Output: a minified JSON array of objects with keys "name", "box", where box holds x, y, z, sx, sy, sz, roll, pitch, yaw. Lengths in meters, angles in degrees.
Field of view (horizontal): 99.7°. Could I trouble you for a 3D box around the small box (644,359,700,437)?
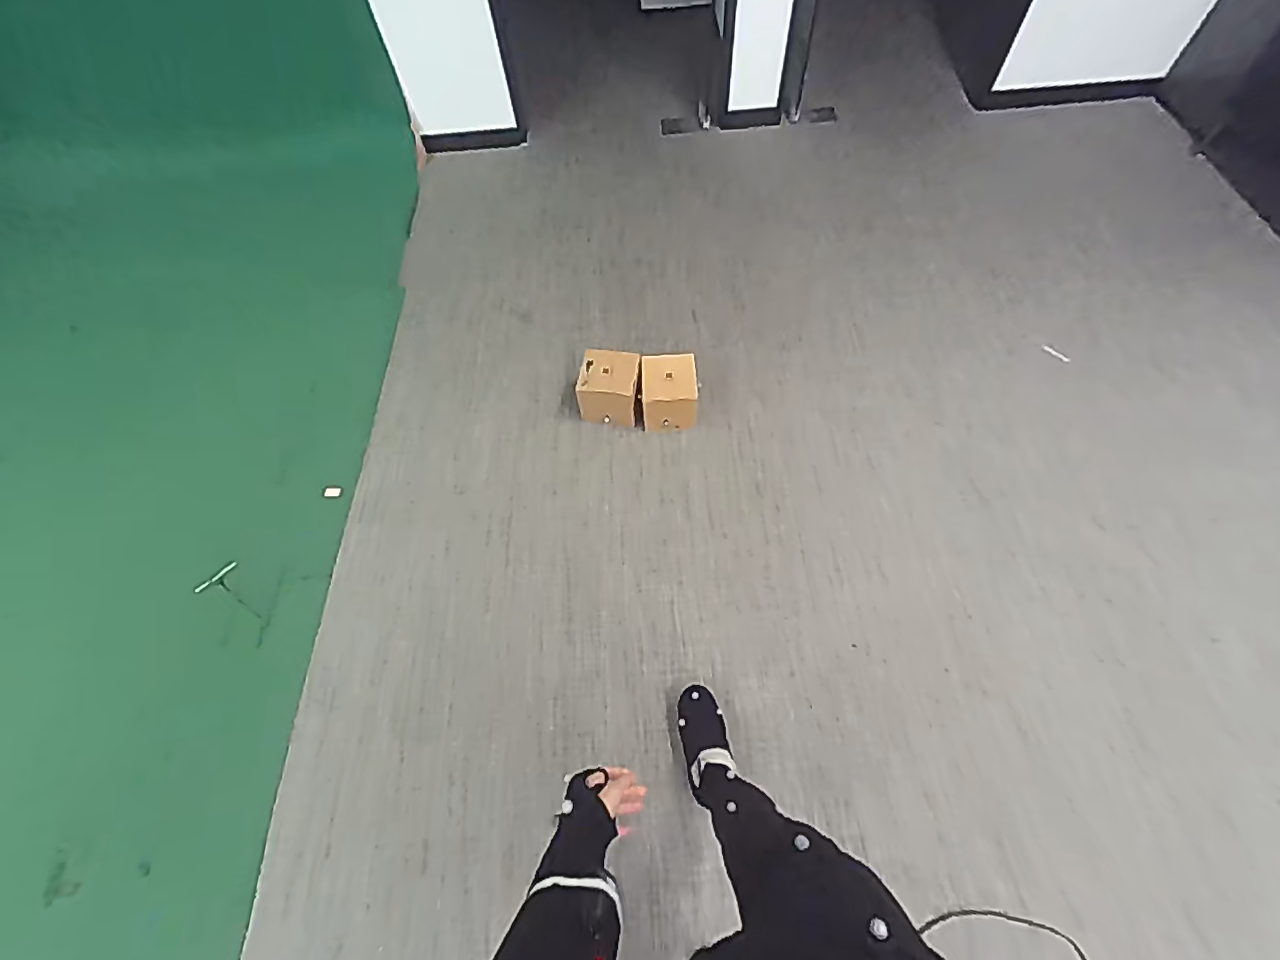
[{"name":"small box","box":[0.096,-0.256,1.700,0.168,0.176,0.179,-3,61,2]}]
